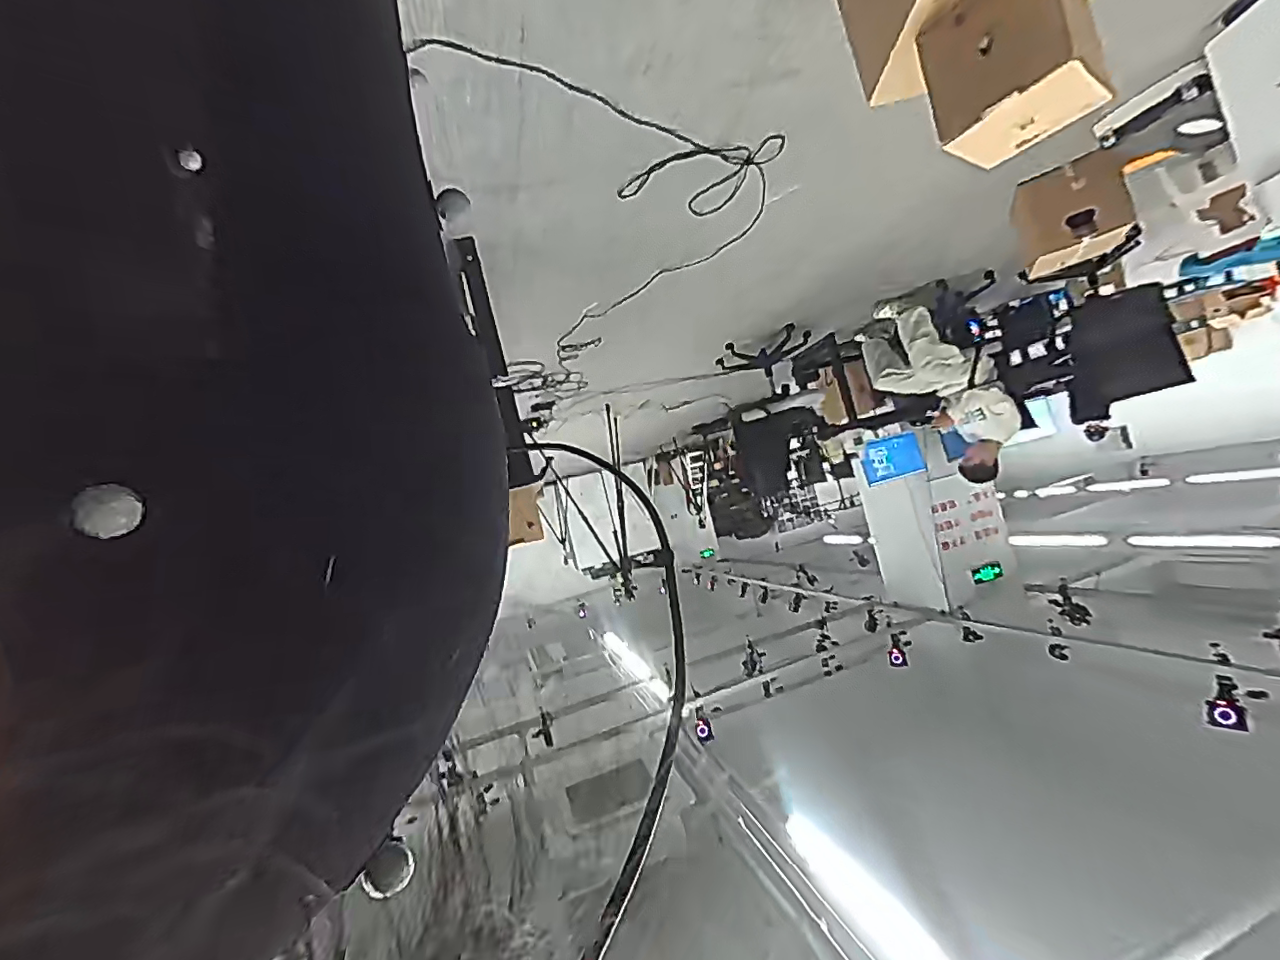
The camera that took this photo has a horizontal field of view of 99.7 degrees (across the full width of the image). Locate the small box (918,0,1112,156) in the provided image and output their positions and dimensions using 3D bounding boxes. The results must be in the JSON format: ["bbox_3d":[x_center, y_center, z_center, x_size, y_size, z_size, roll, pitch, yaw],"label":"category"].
[{"bbox_3d":[0.531,-0.613,0.775,0.179,0.176,0.168,-11,176,-37],"label":"small box"}]
